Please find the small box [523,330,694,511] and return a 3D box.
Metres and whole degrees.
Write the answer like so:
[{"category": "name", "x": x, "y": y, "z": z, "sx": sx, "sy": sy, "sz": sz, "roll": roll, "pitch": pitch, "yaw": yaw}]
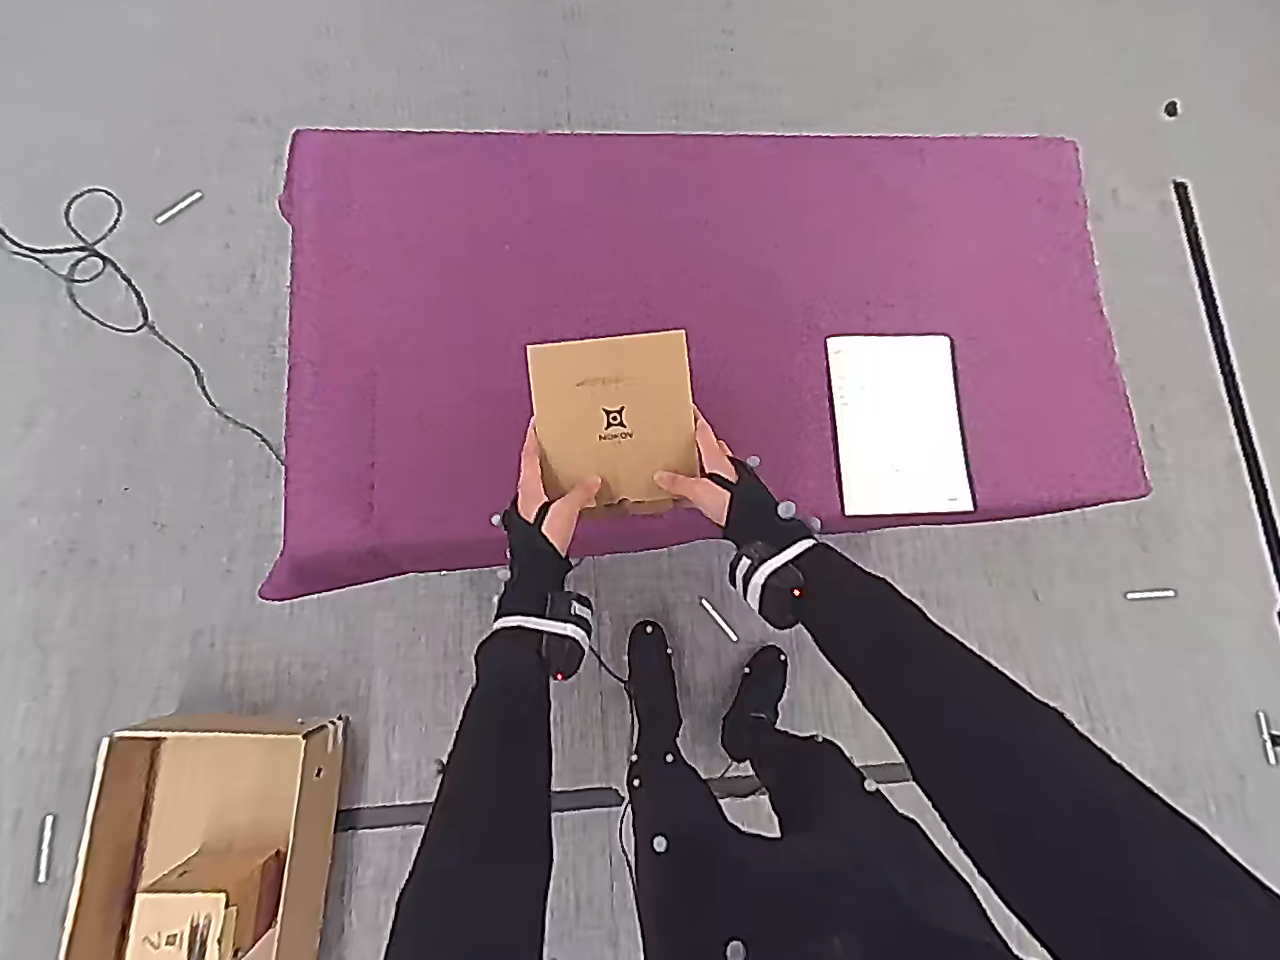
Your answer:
[{"category": "small box", "x": -0.033, "y": -0.065, "z": 0.637, "sx": 0.168, "sy": 0.176, "sz": 0.179, "roll": -6, "pitch": 92, "yaw": -2}]
